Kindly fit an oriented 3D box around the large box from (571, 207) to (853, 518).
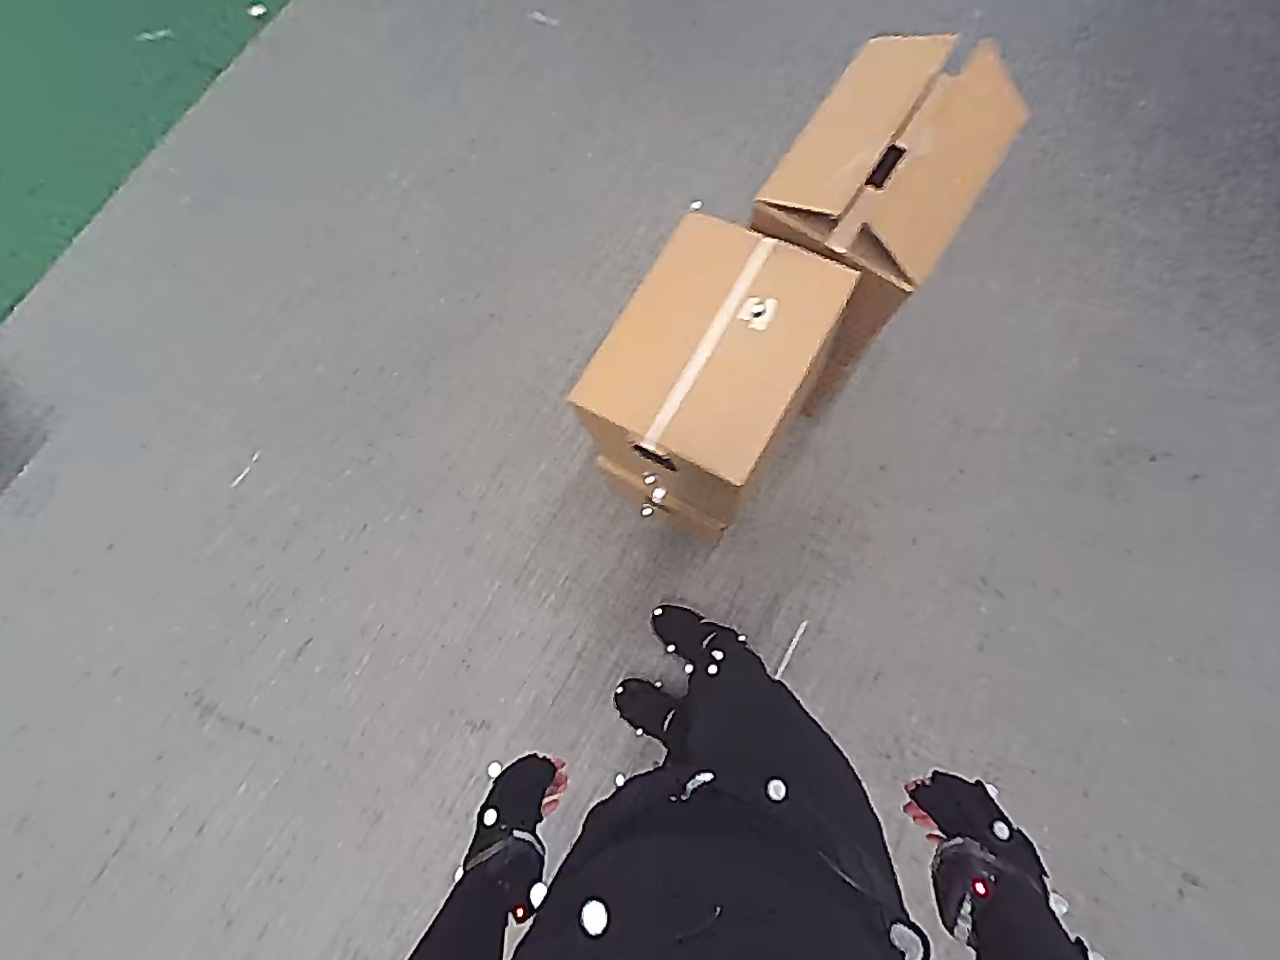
[{"bbox_3d":[0.133,-0.195,0.997,0.320,0.320,0.408,28,79,14],"label":"large box"}]
